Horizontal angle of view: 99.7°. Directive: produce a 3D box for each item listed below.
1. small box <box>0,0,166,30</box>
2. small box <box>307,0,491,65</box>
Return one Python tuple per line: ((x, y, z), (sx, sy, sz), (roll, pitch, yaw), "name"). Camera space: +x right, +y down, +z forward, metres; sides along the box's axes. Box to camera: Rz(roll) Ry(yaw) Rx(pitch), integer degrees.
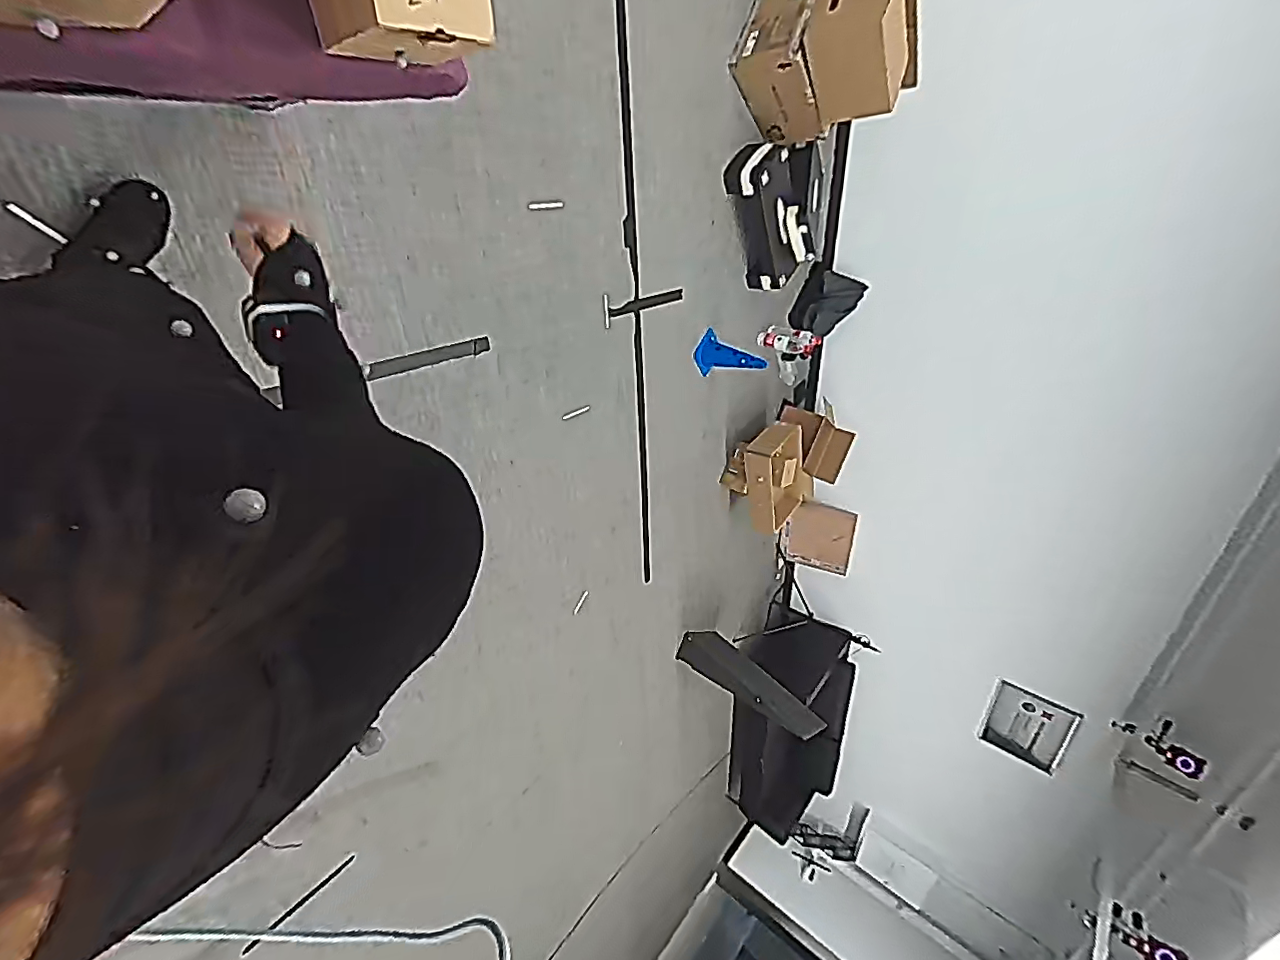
((-0.553, -0.508, 0.452), (0.168, 0.176, 0.179), (-35, 133, -37), "small box")
((-0.317, -0.654, 0.681), (0.168, 0.176, 0.179), (-30, 129, -40), "small box")
